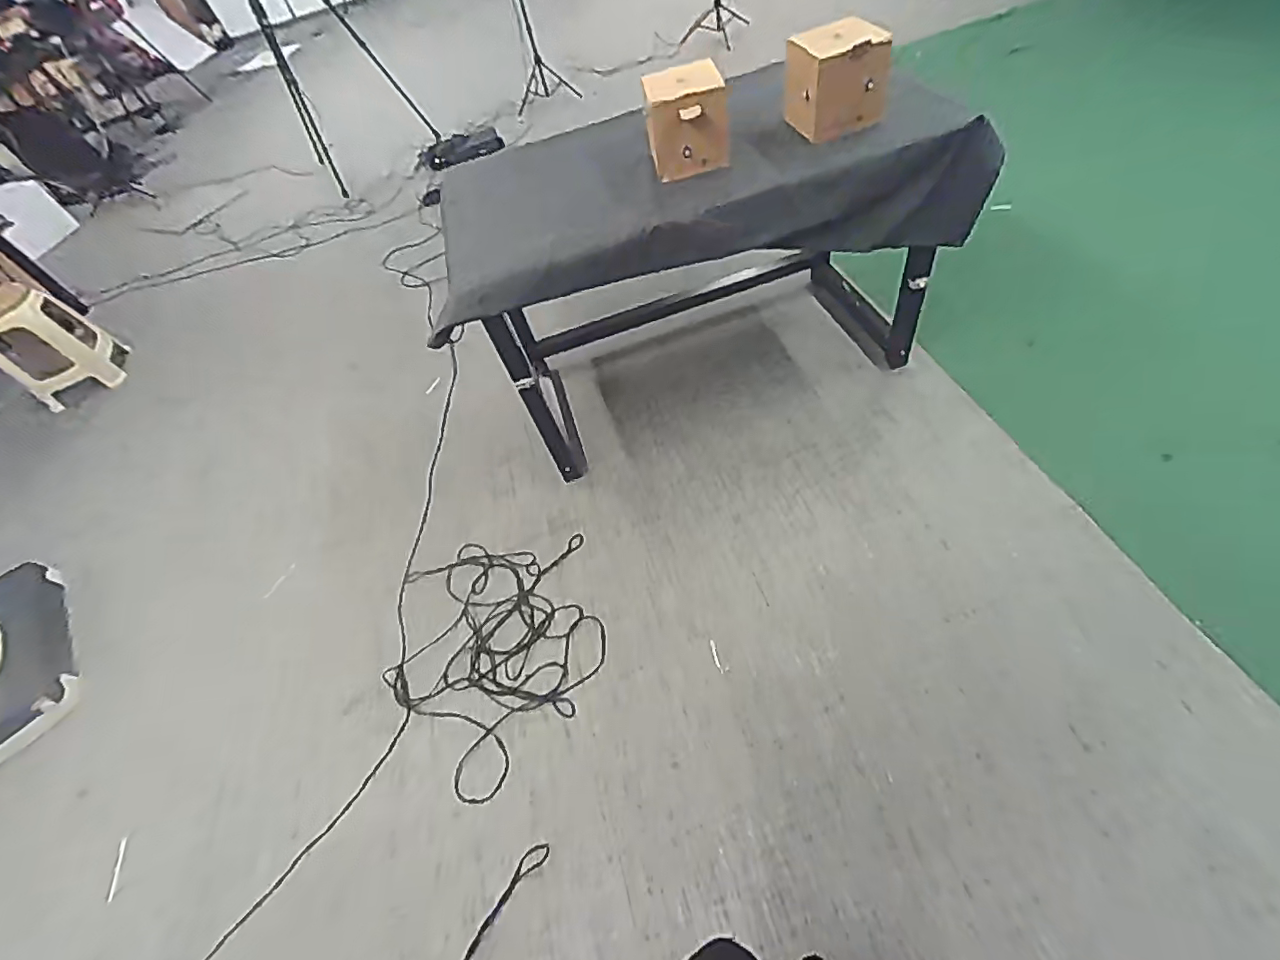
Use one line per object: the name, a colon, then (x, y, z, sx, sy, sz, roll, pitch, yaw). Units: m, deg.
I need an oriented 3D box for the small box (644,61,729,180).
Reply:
small box: (0.107, -0.823, 1.245, 0.168, 0.176, 0.179, -11, 52, 4)

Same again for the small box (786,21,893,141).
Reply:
small box: (0.440, -0.894, 1.221, 0.168, 0.176, 0.179, -17, 50, -1)
